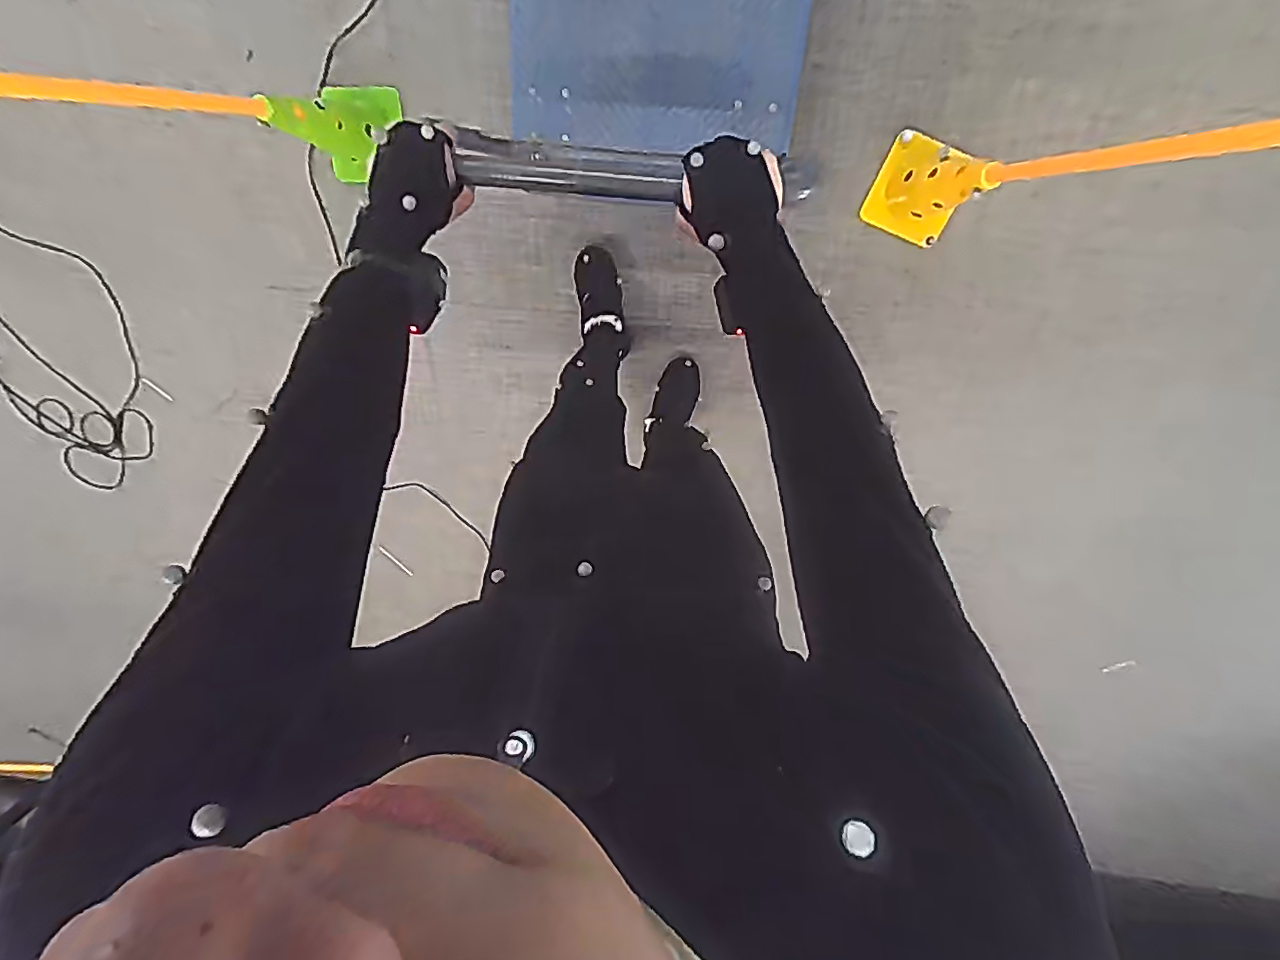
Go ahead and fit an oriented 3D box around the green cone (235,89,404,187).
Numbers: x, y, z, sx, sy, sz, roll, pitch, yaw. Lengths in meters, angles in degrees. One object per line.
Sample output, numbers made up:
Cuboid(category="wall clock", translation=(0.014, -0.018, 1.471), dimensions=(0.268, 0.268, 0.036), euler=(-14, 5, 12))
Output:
Cuboid(category="green cone", translation=(-0.700, -0.755, 1.153), dimensions=(0.202, 0.368, 0.200), euler=(3, 114, 6))
